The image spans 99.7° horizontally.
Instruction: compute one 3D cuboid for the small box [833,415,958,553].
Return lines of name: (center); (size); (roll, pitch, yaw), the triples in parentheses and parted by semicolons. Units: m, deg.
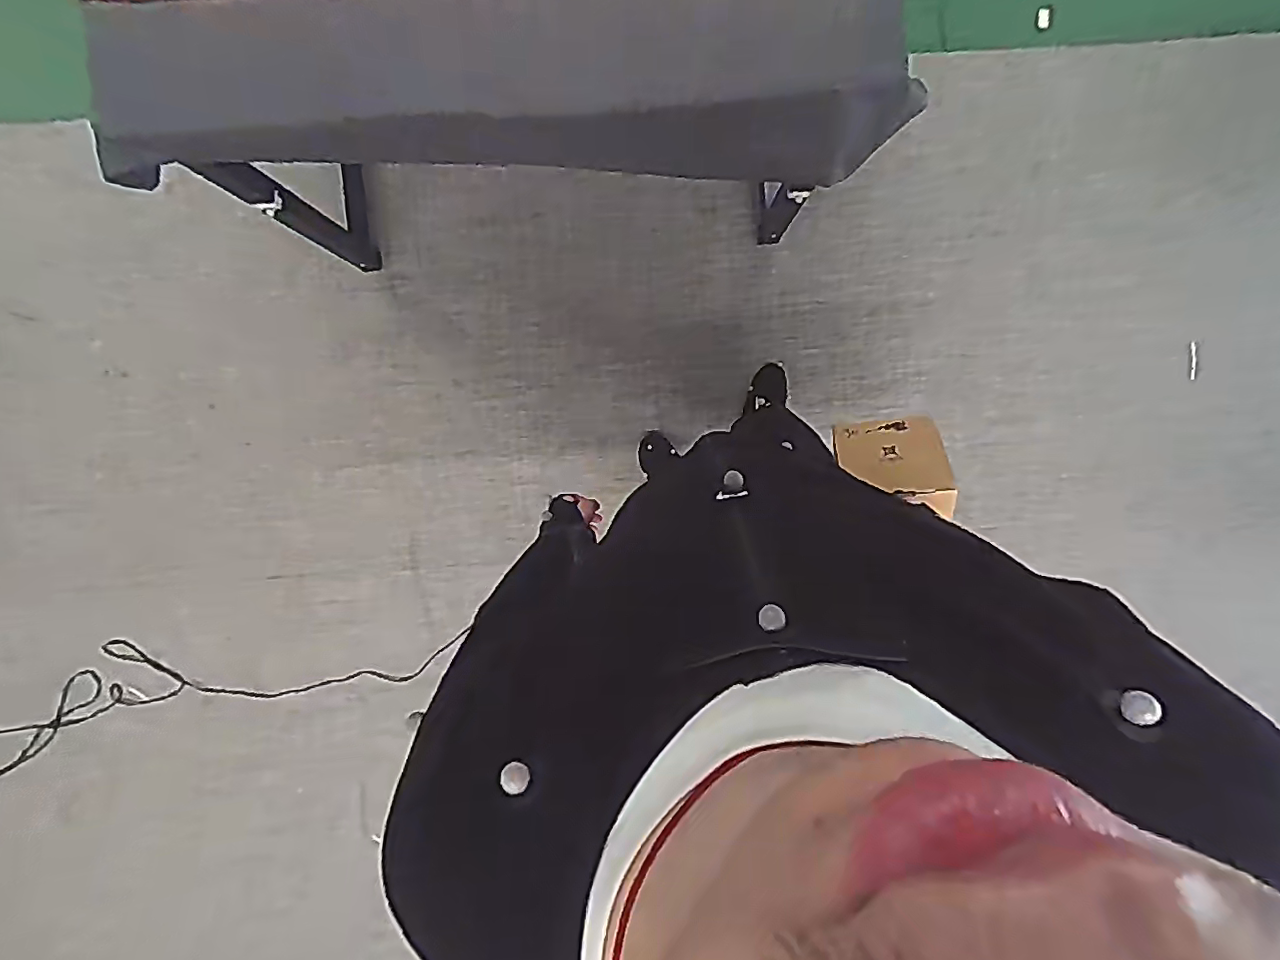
small box: (0.440, 0.015, 0.950); (0.168, 0.179, 0.176); (-7, 136, 16)
